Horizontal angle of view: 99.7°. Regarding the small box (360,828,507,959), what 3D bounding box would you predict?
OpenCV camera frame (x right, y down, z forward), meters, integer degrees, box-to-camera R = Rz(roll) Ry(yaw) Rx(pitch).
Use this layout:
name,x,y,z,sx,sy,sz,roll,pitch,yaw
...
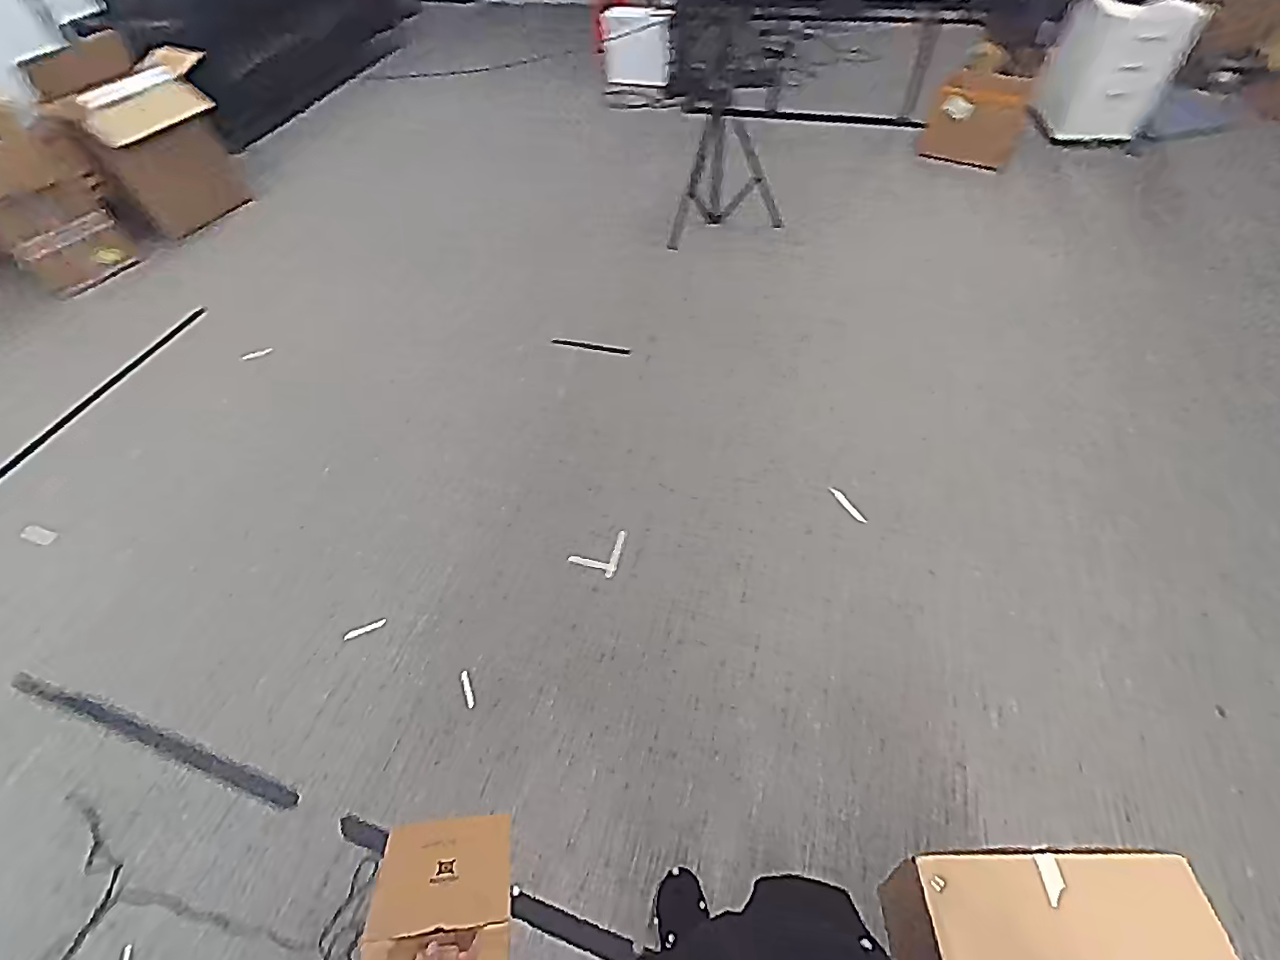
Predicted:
name,x,y,z,sx,sy,sz,roll,pitch,yaw
small box,-0.262,0.609,0.714,0.168,0.179,0.176,3,97,-16
